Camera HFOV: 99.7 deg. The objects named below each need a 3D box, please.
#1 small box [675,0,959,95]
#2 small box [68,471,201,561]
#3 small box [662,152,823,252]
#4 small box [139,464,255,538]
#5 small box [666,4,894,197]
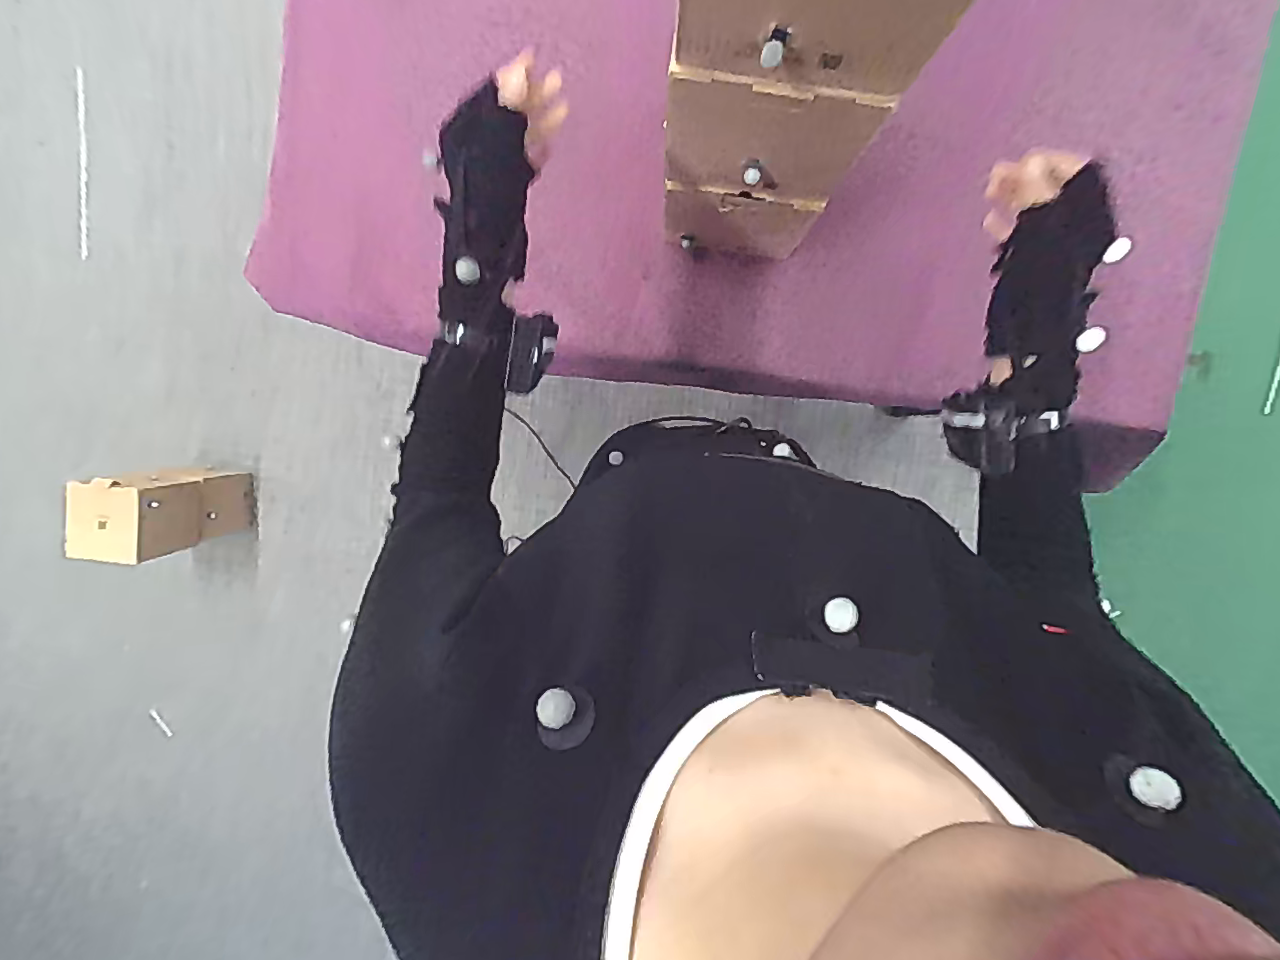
[{"bbox_3d":[0.112,-0.361,0.295,0.168,0.176,0.179,9,96,1],"label":"small box"},{"bbox_3d":[-1.184,0.080,1.277,0.168,0.176,0.179,6,95,1],"label":"small box"},{"bbox_3d":[0.121,-0.382,0.622,0.168,0.176,0.179,9,95,1],"label":"small box"},{"bbox_3d":[-1.175,0.051,1.438,0.179,0.176,0.168,6,96,2],"label":"small box"},{"bbox_3d":[0.115,-0.374,0.457,0.168,0.176,0.179,9,96,1],"label":"small box"}]
